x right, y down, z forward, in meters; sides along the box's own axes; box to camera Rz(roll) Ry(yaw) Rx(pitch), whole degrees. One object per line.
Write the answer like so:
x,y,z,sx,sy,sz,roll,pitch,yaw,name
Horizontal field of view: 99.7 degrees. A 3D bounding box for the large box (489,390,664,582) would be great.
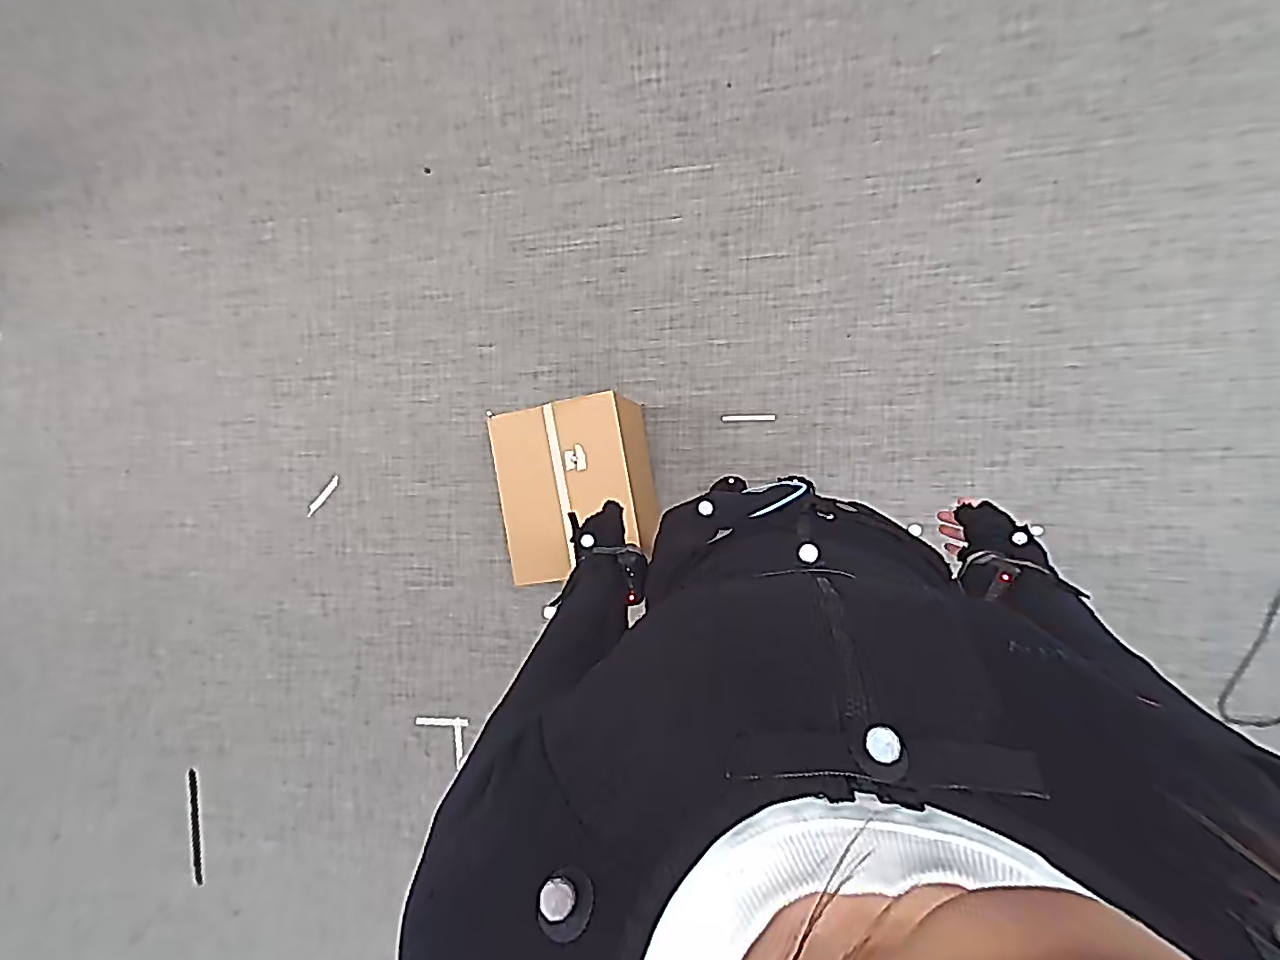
-0.143,0.017,1.382,0.320,0.320,0.408,-10,88,11,large box
